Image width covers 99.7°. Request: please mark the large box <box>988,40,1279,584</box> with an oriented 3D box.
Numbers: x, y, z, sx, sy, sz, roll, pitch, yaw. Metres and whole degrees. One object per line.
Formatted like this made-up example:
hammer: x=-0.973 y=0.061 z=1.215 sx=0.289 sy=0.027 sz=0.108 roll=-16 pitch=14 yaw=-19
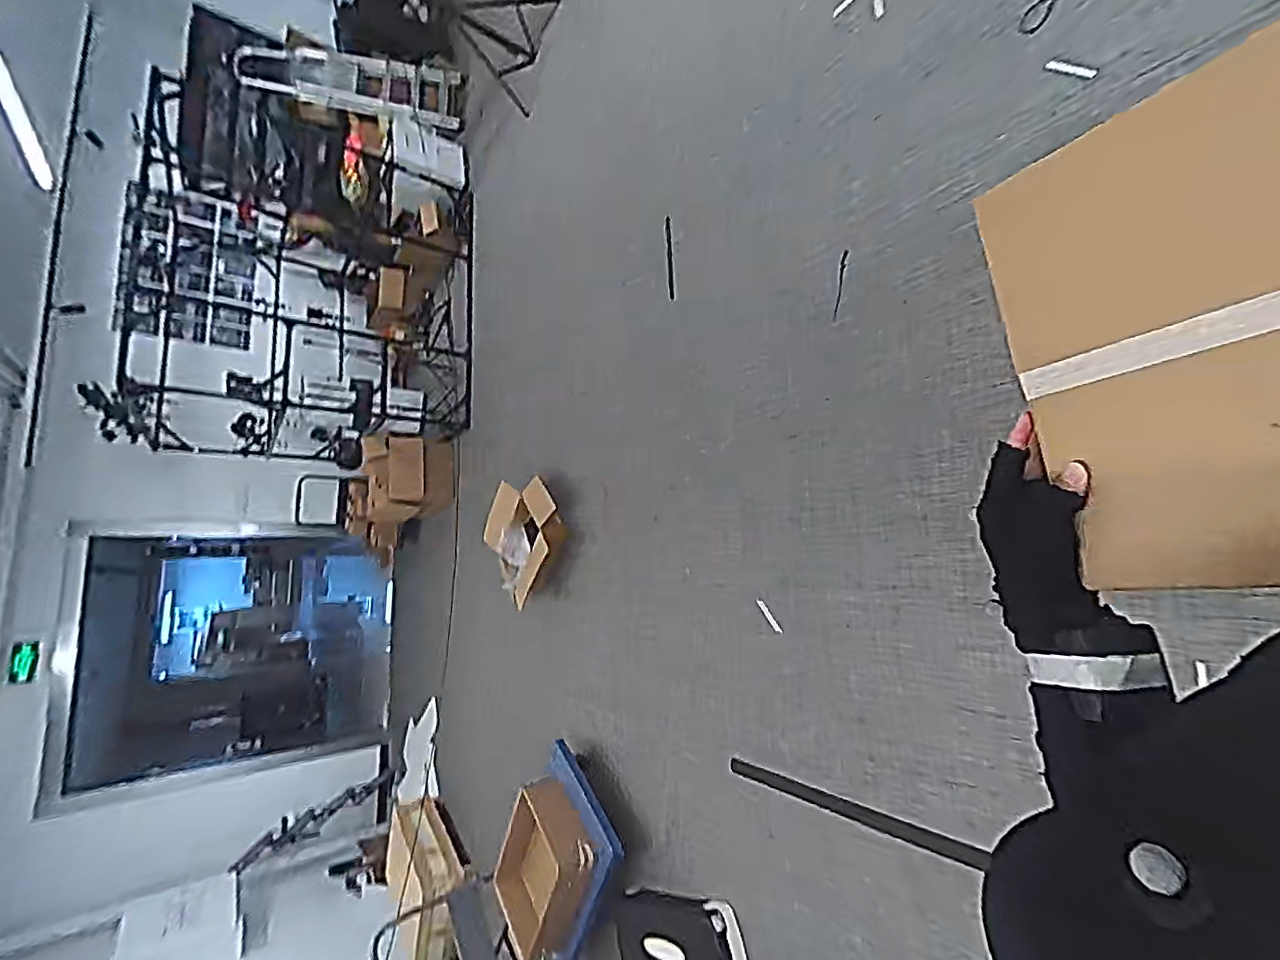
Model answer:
large box: x=0.536 y=-0.123 z=0.348 sx=0.408 sy=0.320 sz=0.320 roll=-19 pitch=81 yaw=54
